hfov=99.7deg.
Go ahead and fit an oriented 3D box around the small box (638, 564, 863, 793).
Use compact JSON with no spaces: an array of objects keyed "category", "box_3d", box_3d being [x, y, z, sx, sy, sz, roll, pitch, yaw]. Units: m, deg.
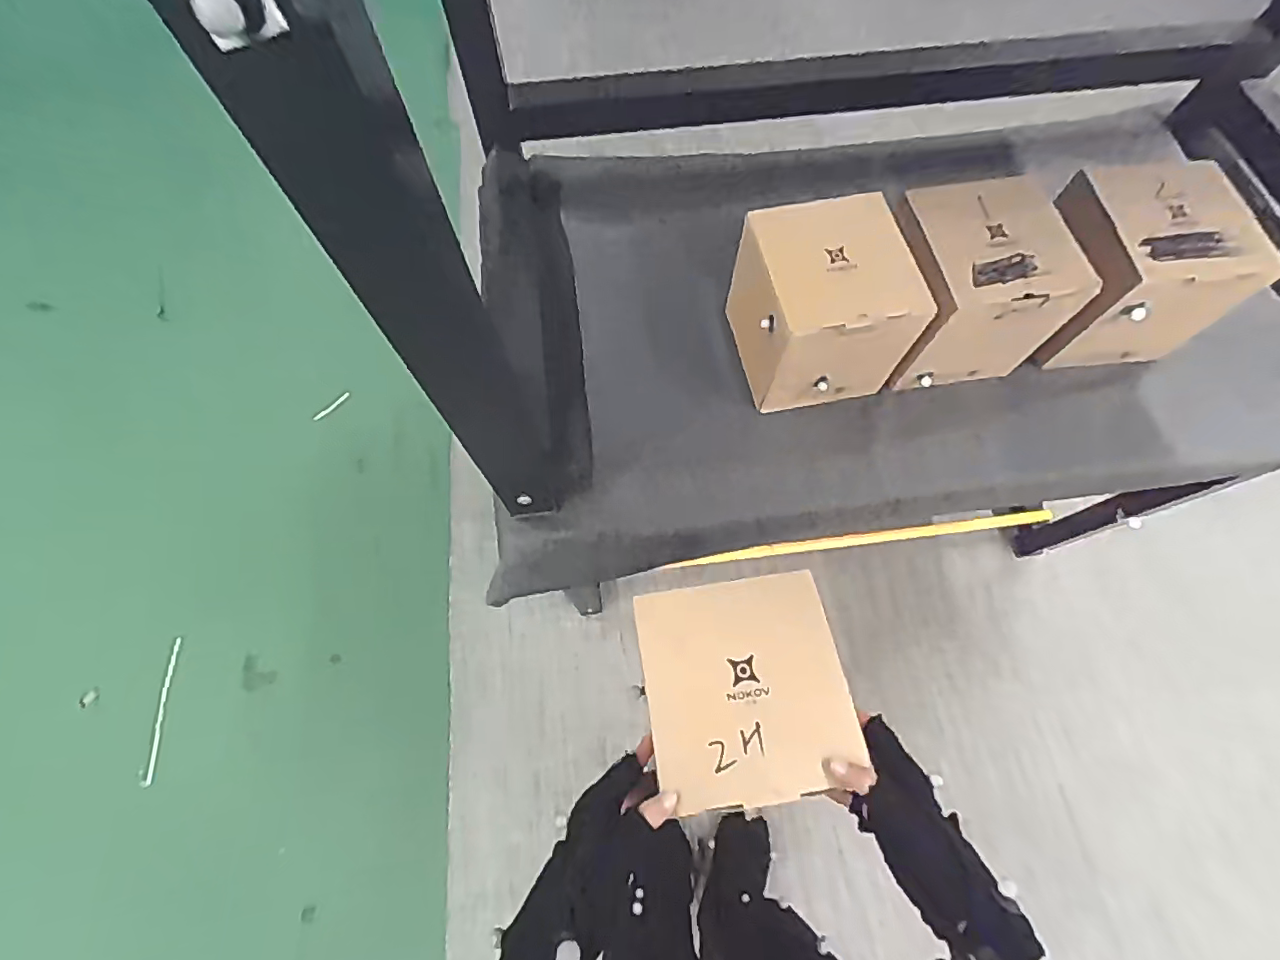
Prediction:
[{"category":"small box","box_3d":[0.089,0.202,0.537,0.168,0.176,0.179,-8,61,-2]}]
